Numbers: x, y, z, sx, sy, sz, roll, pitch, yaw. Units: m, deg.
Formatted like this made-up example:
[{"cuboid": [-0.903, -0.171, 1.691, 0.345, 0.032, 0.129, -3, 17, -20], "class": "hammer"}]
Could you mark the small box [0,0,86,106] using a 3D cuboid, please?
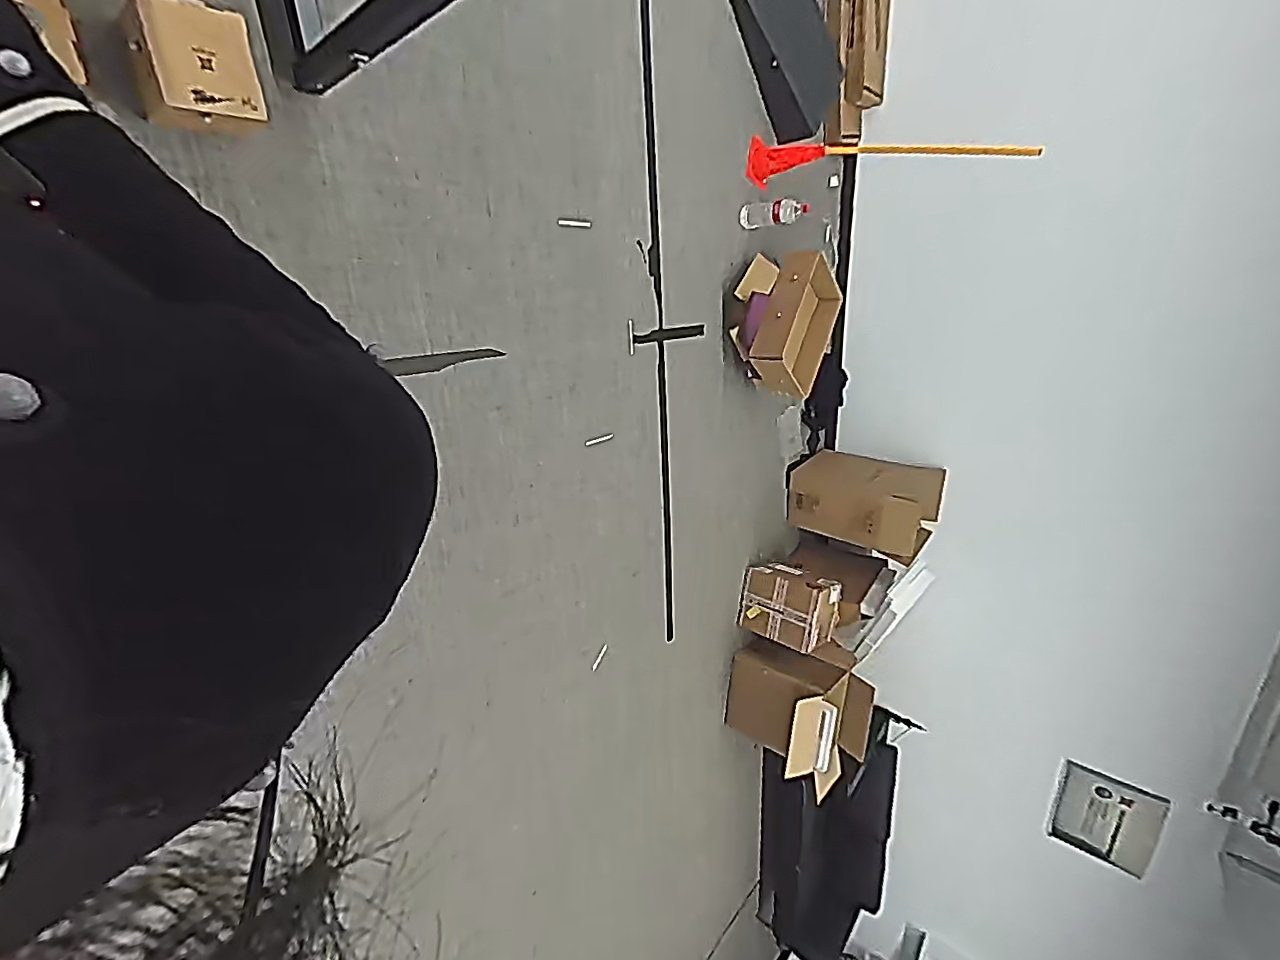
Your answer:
[{"cuboid": [-1.033, -0.718, 0.855, 0.179, 0.176, 0.168, -23, 117, -44], "class": "small box"}]

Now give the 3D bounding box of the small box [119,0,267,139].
[{"cuboid": [-0.860, -0.787, 1.040, 0.168, 0.176, 0.179, -24, 118, -44], "class": "small box"}]
